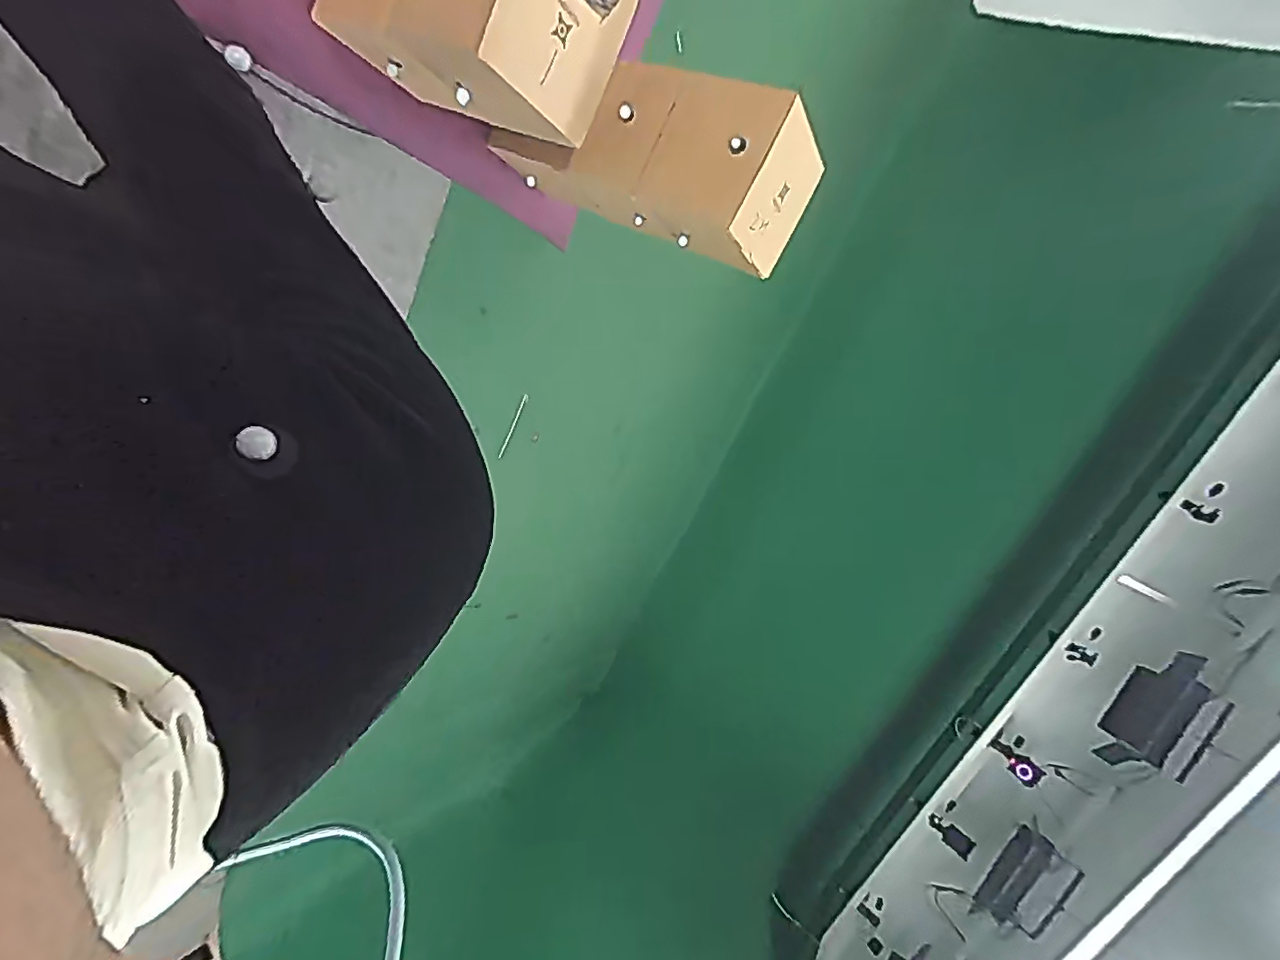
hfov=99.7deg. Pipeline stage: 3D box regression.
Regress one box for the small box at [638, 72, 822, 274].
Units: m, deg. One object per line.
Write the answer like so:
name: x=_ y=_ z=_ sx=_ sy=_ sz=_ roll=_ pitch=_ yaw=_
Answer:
small box: x=0.126 y=-0.430 z=0.764 sx=0.168 sy=0.176 sz=0.179 roll=8 pitch=113 yaw=-60

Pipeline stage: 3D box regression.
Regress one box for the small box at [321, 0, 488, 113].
small box: x=-0.263 y=-0.601 z=0.665 sx=0.168 sy=0.176 sz=0.179 roll=2 pitch=117 yaw=-60

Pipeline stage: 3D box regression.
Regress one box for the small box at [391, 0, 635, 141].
small box: x=-0.139 y=-0.521 z=0.593 sx=0.168 sy=0.176 sz=0.179 roll=3 pitch=117 yaw=-60

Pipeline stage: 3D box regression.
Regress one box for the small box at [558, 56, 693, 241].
small box: x=0.003 y=-0.511 z=0.837 sx=0.168 sy=0.176 sz=0.179 roll=7 pitch=114 yaw=-60
